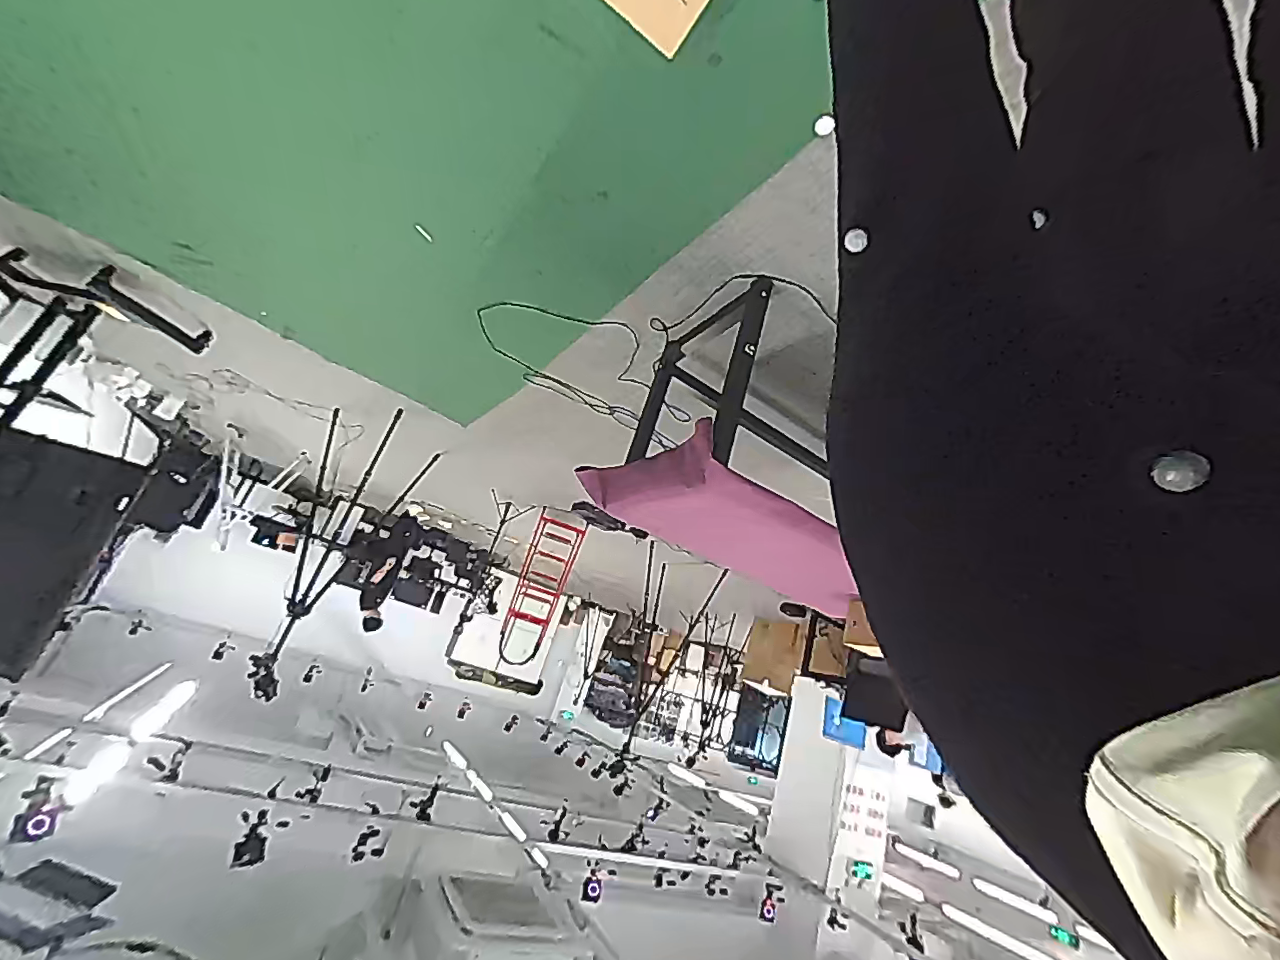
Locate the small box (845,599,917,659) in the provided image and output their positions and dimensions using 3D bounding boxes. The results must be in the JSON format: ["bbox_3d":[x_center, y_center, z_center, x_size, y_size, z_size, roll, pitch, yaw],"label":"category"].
[{"bbox_3d":[0.895,0.545,2.000,0.168,0.176,0.179,25,159,-21],"label":"small box"}]

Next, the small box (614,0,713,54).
[{"bbox_3d":[0.051,-0.805,0.797,0.179,0.176,0.168,26,160,-24],"label":"small box"}]
